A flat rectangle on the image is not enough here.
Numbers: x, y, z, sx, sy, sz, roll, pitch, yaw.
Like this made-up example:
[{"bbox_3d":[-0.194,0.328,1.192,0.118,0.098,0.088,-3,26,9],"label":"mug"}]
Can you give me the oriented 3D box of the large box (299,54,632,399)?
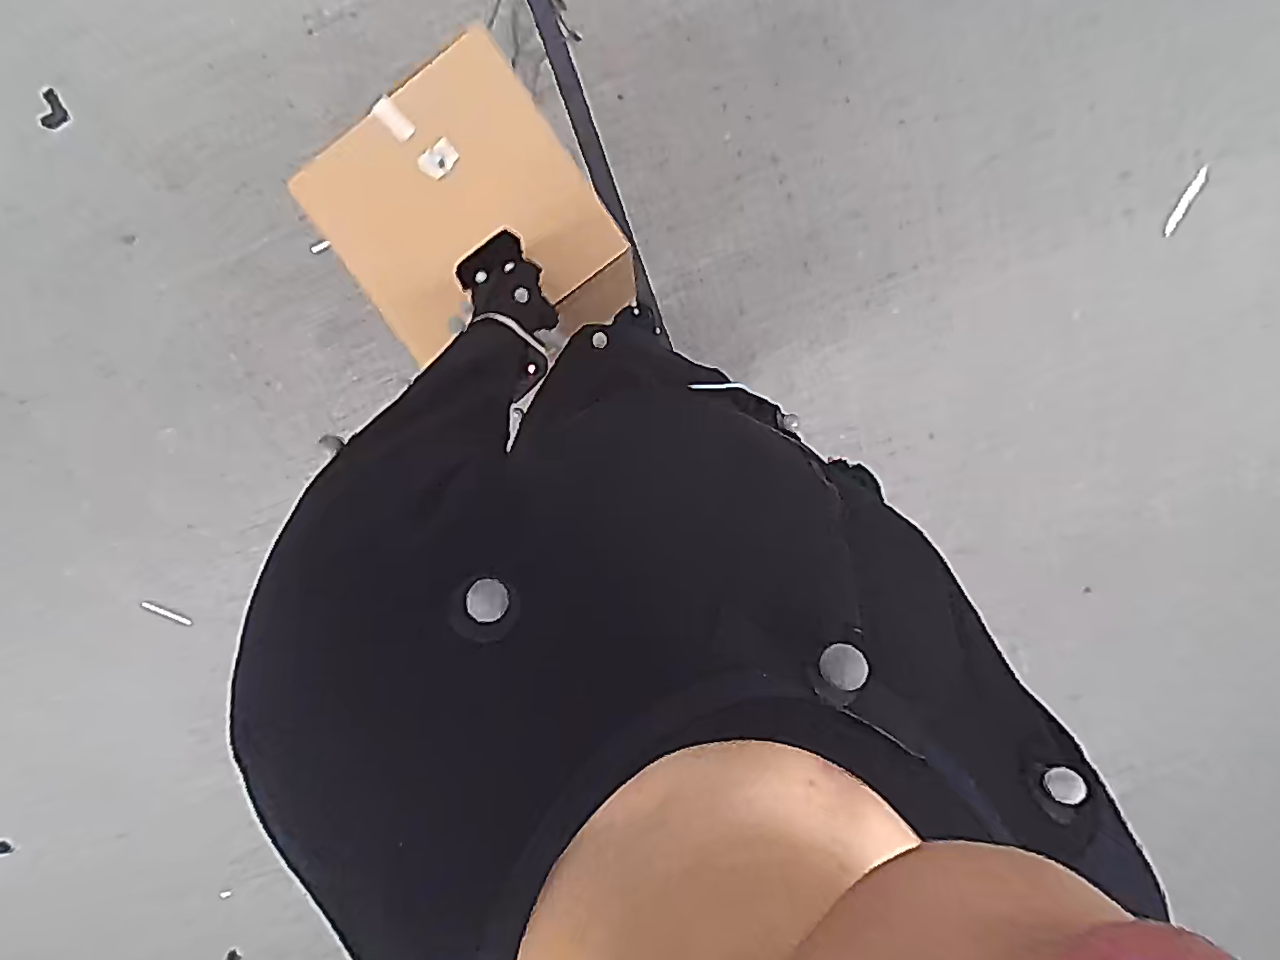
[{"bbox_3d":[-0.230,-0.356,0.881,0.320,0.408,0.320,-36,99,7],"label":"large box"}]
